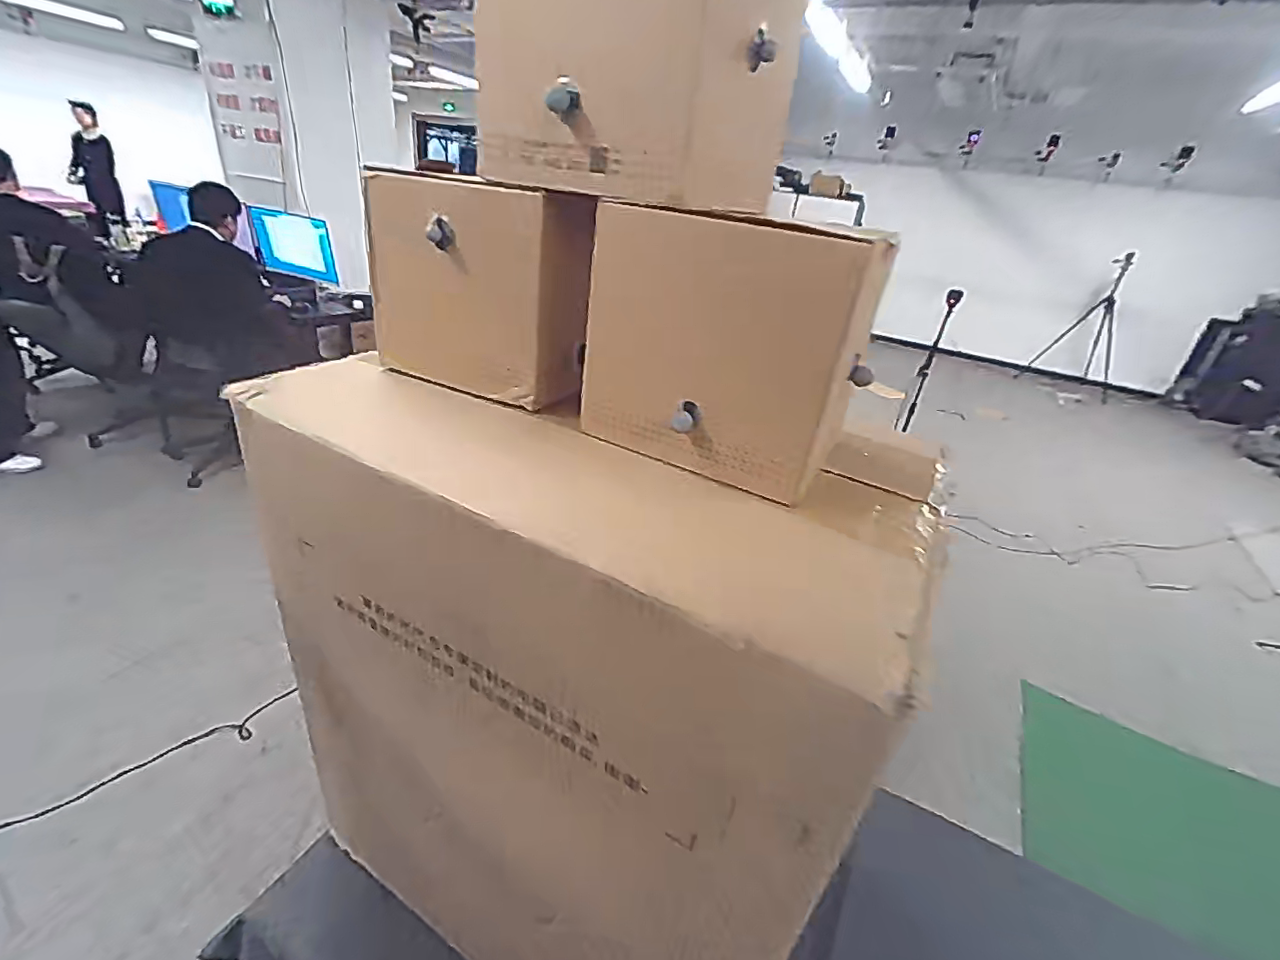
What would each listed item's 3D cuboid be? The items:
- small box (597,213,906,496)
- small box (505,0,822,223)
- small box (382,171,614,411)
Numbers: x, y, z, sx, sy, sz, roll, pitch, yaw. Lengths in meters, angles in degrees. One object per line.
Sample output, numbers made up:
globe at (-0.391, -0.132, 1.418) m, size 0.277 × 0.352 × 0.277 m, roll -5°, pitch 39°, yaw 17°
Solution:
small box at (0.084, -0.105, 0.425) m, size 0.179 × 0.176 × 0.168 m, roll 20°, pitch 29°, yaw 22°
small box at (0.014, -0.289, 0.397) m, size 0.168 × 0.176 × 0.179 m, roll 20°, pitch 31°, yaw 23°
small box at (-0.109, -0.177, 0.507) m, size 0.179 × 0.176 × 0.168 m, roll 19°, pitch 30°, yaw 19°
